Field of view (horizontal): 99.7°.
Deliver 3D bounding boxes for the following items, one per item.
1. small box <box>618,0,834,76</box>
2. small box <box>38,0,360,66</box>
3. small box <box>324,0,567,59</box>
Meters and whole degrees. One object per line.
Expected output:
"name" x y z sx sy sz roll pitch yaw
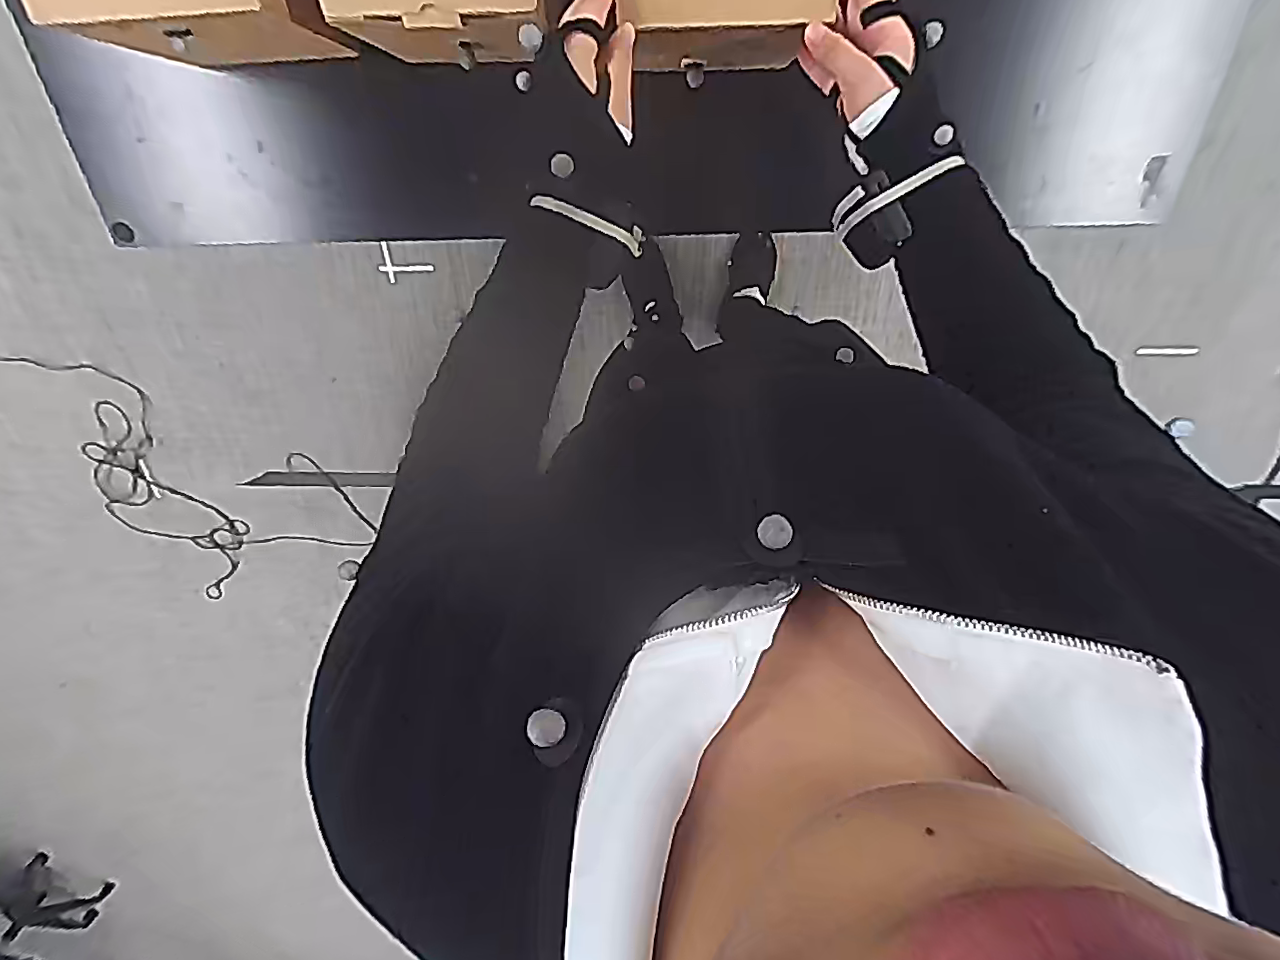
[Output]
"small box" 0.064 -0.457 0.443 0.168 0.176 0.179 -1 119 3
"small box" -0.371 -0.462 0.446 0.179 0.176 0.168 -3 119 1
"small box" -0.156 -0.464 0.442 0.168 0.176 0.179 0 119 1
